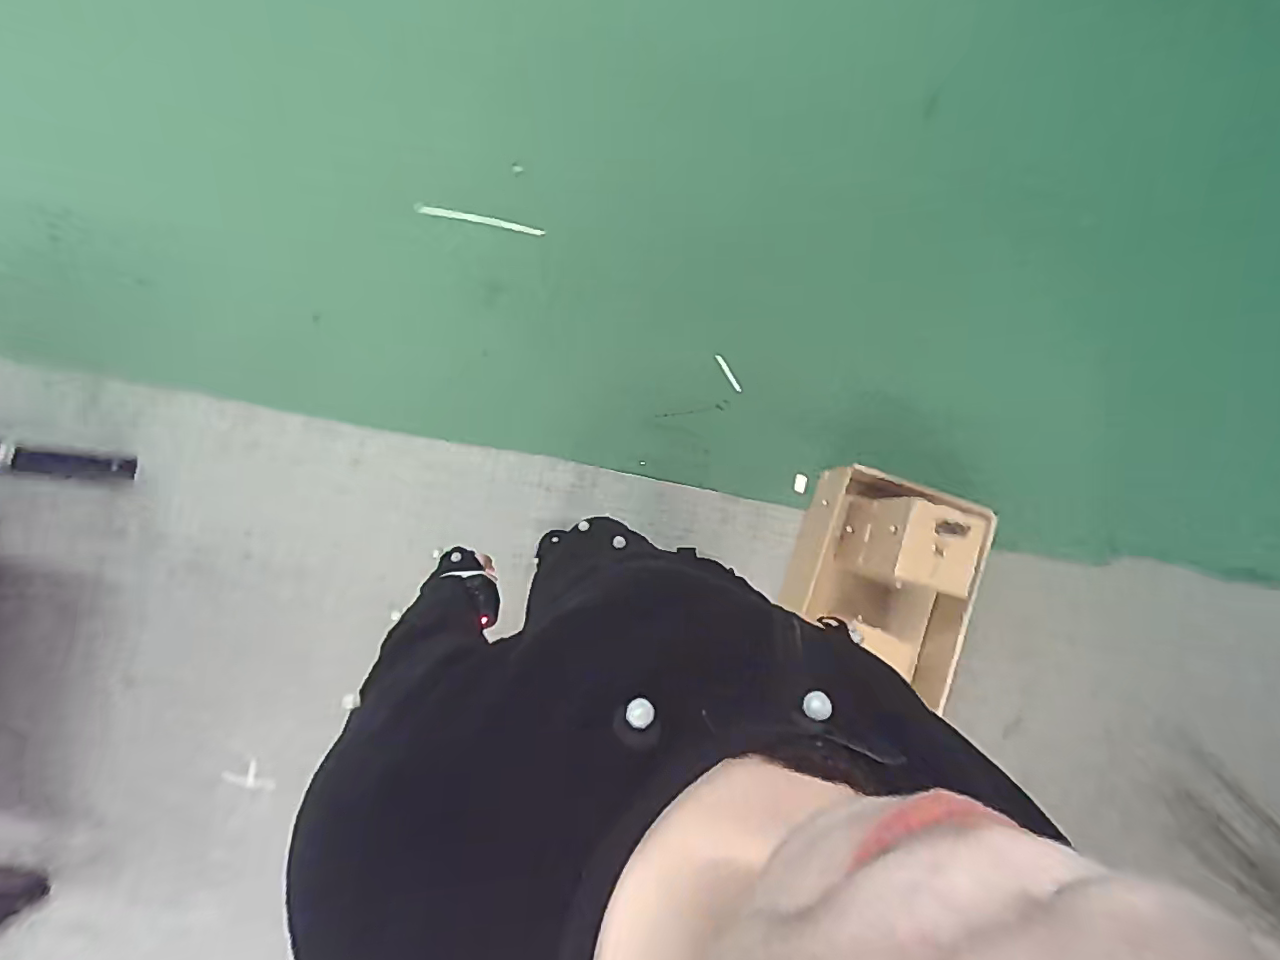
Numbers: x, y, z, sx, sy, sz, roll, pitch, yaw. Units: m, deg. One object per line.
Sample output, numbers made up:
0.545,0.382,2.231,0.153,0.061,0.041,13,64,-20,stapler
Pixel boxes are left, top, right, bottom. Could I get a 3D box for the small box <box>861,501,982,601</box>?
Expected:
0.630,0.157,1.232,0.168,0.176,0.179,18,86,0,small box
